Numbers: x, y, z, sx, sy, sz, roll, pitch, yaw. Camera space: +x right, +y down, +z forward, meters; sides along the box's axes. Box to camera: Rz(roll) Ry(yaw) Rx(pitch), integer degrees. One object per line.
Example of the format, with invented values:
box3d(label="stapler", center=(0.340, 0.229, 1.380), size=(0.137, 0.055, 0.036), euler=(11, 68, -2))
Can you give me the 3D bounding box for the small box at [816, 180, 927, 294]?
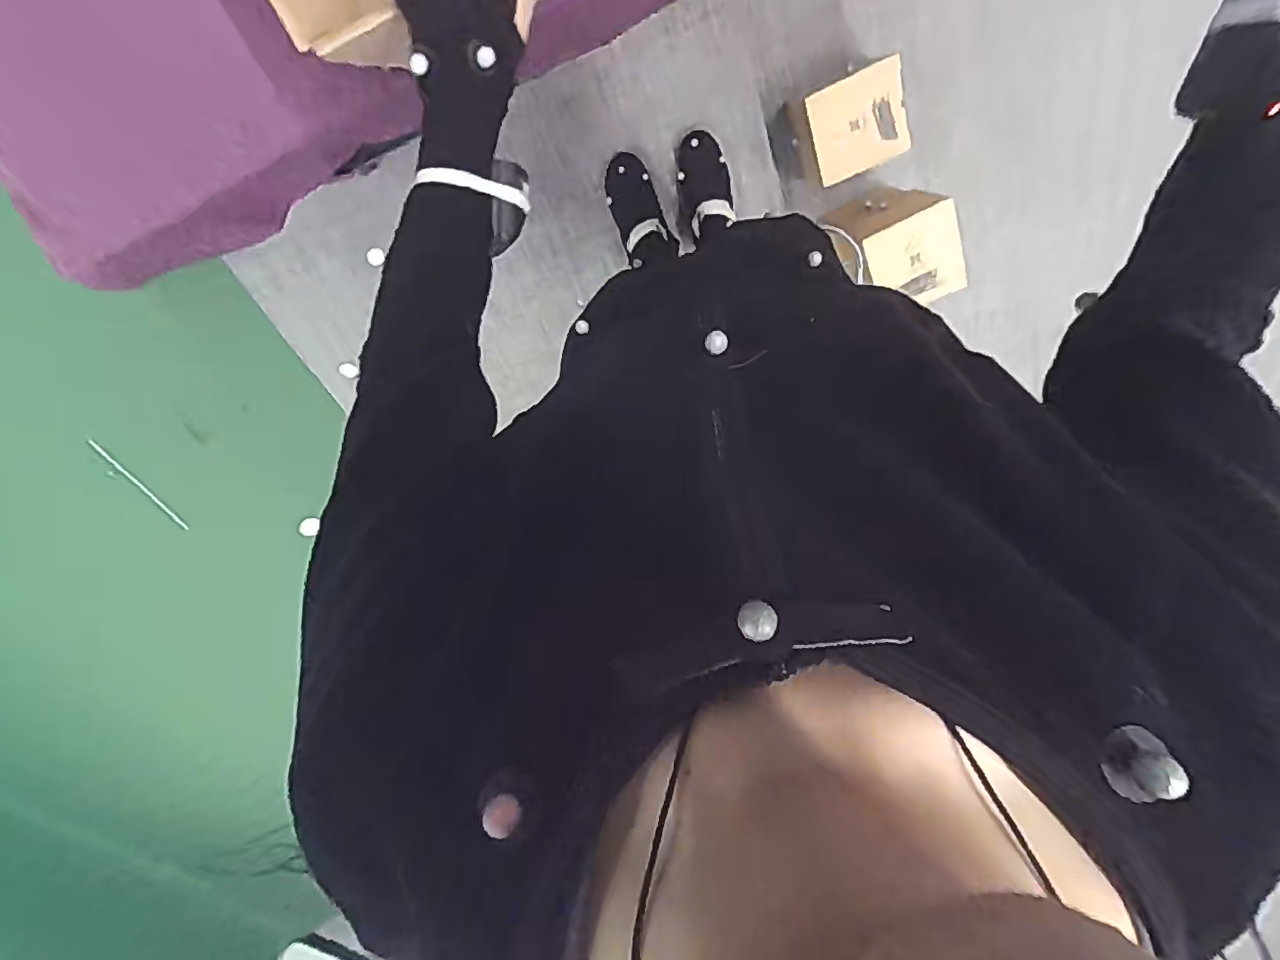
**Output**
box3d(label="small box", center=(0.516, -0.554, 1.228), size=(0.179, 0.176, 0.168), euler=(-23, 121, 15))
